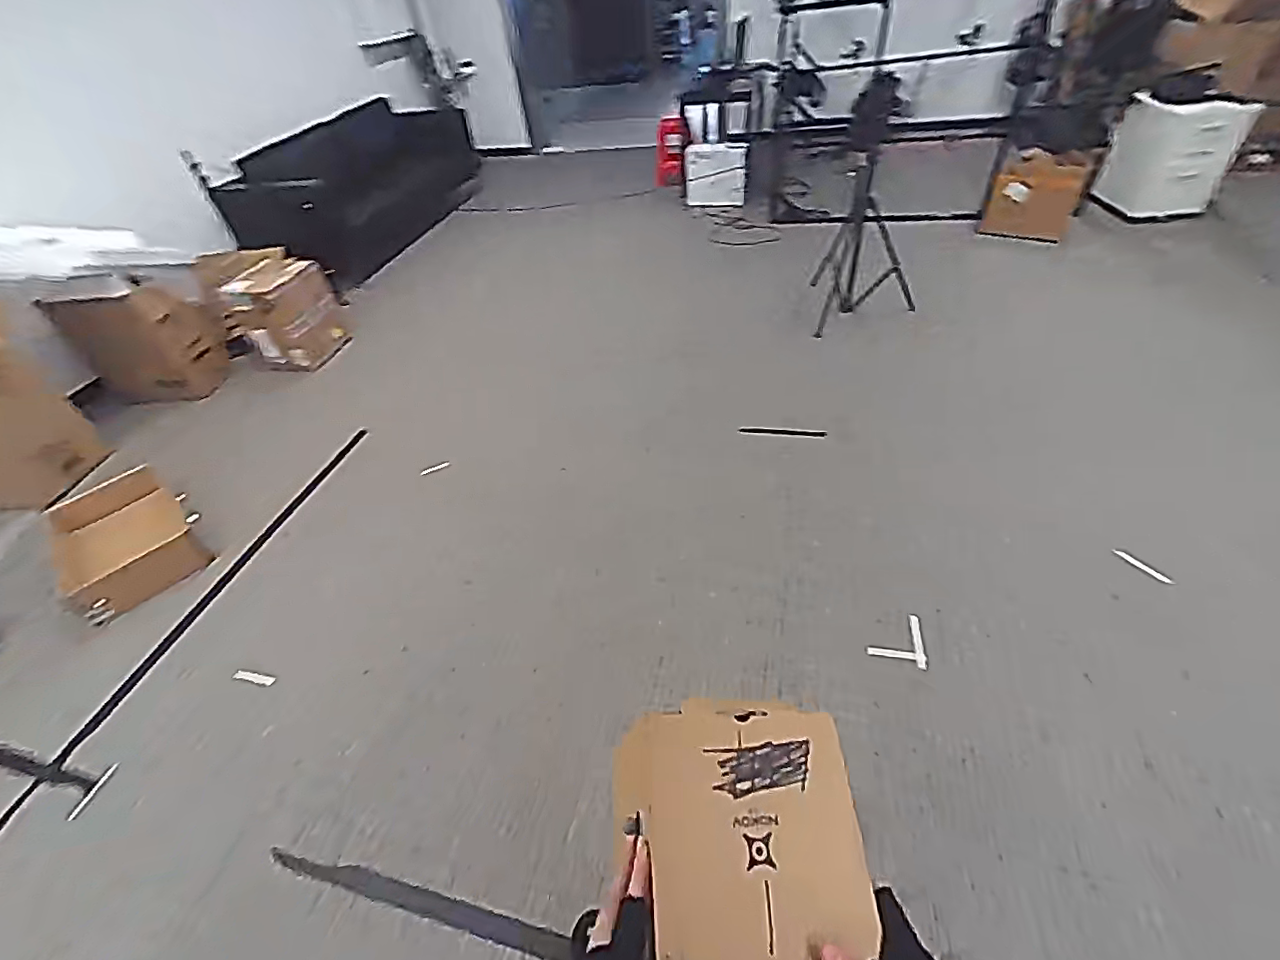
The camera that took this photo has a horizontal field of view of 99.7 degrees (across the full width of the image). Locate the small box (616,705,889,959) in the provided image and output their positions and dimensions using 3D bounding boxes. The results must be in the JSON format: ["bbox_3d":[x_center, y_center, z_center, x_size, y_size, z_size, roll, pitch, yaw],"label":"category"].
[{"bbox_3d":[0.074,0.306,0.461,0.168,0.176,0.179,6,54,-9],"label":"small box"}]
